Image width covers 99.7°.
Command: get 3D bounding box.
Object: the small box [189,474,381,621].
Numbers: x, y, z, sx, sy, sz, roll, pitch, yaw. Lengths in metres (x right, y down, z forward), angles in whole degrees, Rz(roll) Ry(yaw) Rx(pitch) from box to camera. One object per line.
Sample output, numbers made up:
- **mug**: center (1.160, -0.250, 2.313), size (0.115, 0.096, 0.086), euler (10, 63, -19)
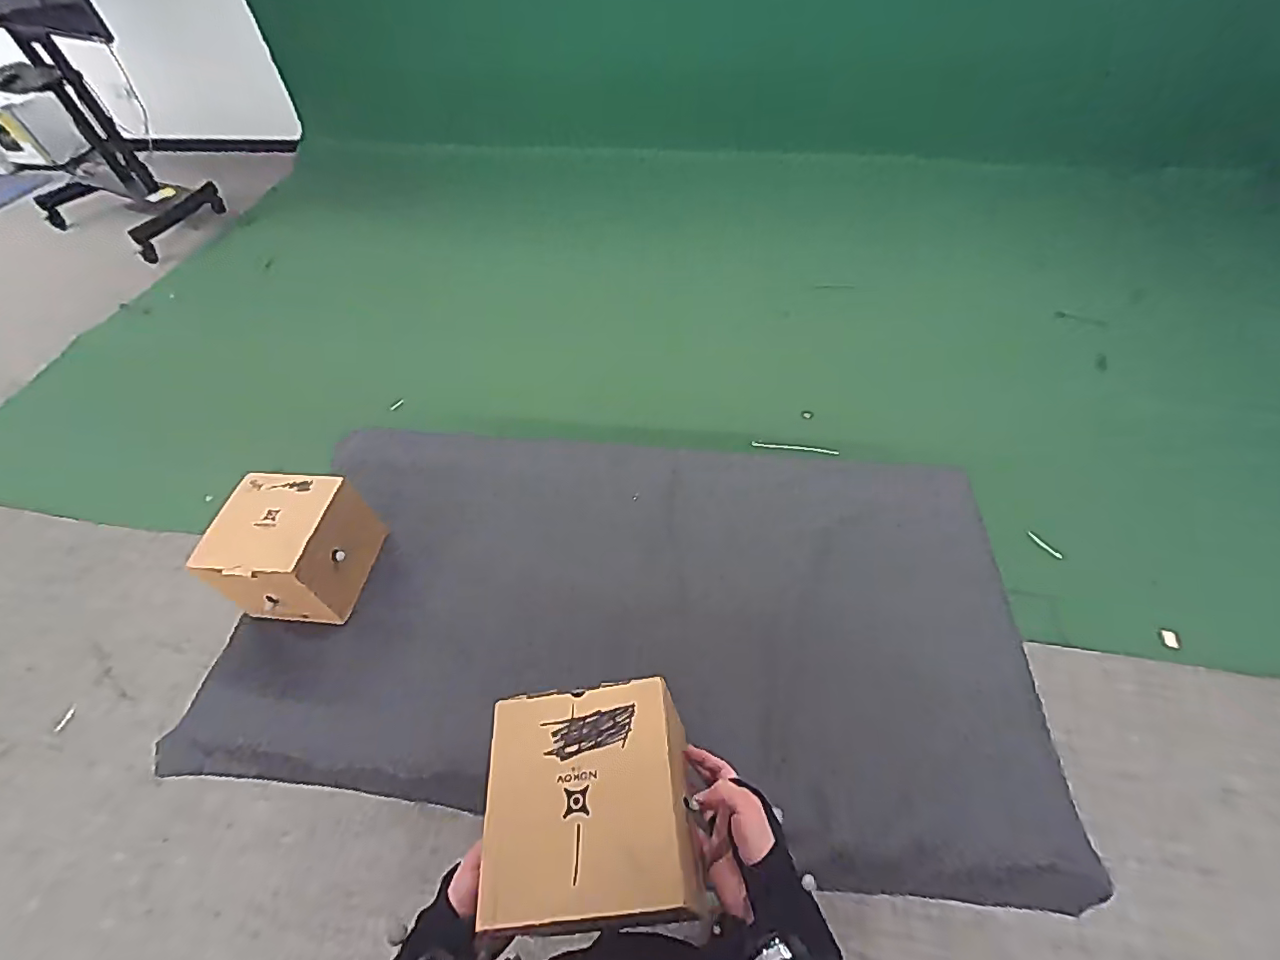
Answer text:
- **small box**: center (-0.550, 0.113, 0.873), size (0.168, 0.176, 0.179), euler (4, 53, 4)
